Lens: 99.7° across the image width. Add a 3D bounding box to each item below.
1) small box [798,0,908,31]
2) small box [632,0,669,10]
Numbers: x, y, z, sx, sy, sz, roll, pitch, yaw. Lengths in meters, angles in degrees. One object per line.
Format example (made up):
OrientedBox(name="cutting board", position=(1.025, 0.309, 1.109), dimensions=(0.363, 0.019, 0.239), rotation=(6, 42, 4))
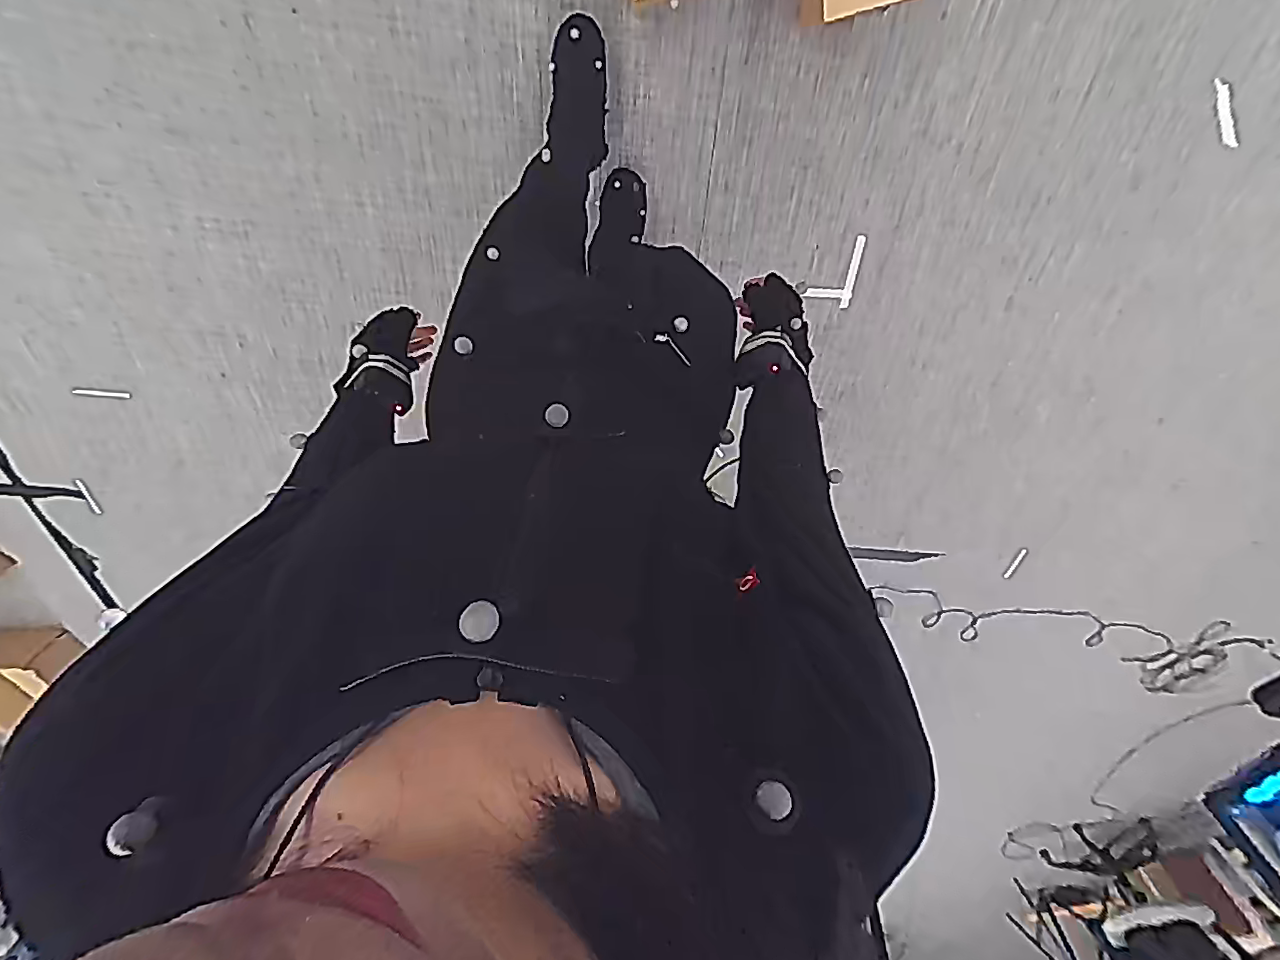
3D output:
OrientedBox(name="small box", position=(0.383, -0.920, 0.947), dimensions=(0.179, 0.176, 0.168), rotation=(-11, 124, 8))
OrientedBox(name="small box", position=(0.045, -0.947, 0.924), dimensions=(0.168, 0.176, 0.179), rotation=(-12, 125, 8))
